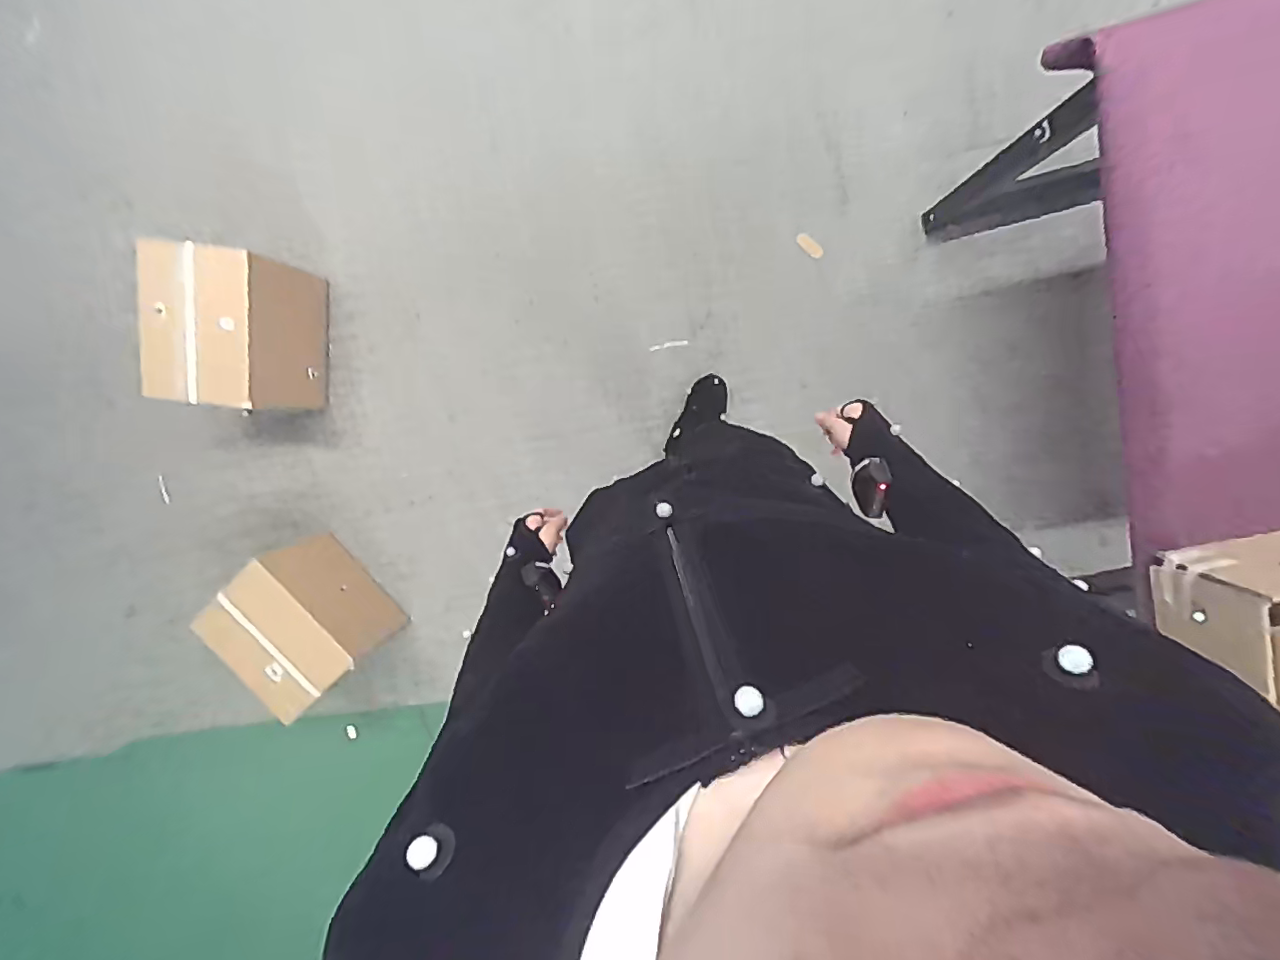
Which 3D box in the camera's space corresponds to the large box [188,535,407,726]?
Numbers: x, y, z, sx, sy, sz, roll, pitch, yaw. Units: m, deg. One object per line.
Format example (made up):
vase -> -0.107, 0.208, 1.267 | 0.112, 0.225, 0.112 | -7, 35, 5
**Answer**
large box -> -1.021, 0.439, 1.655 | 0.320, 0.320, 0.408 | -43, 94, 10
